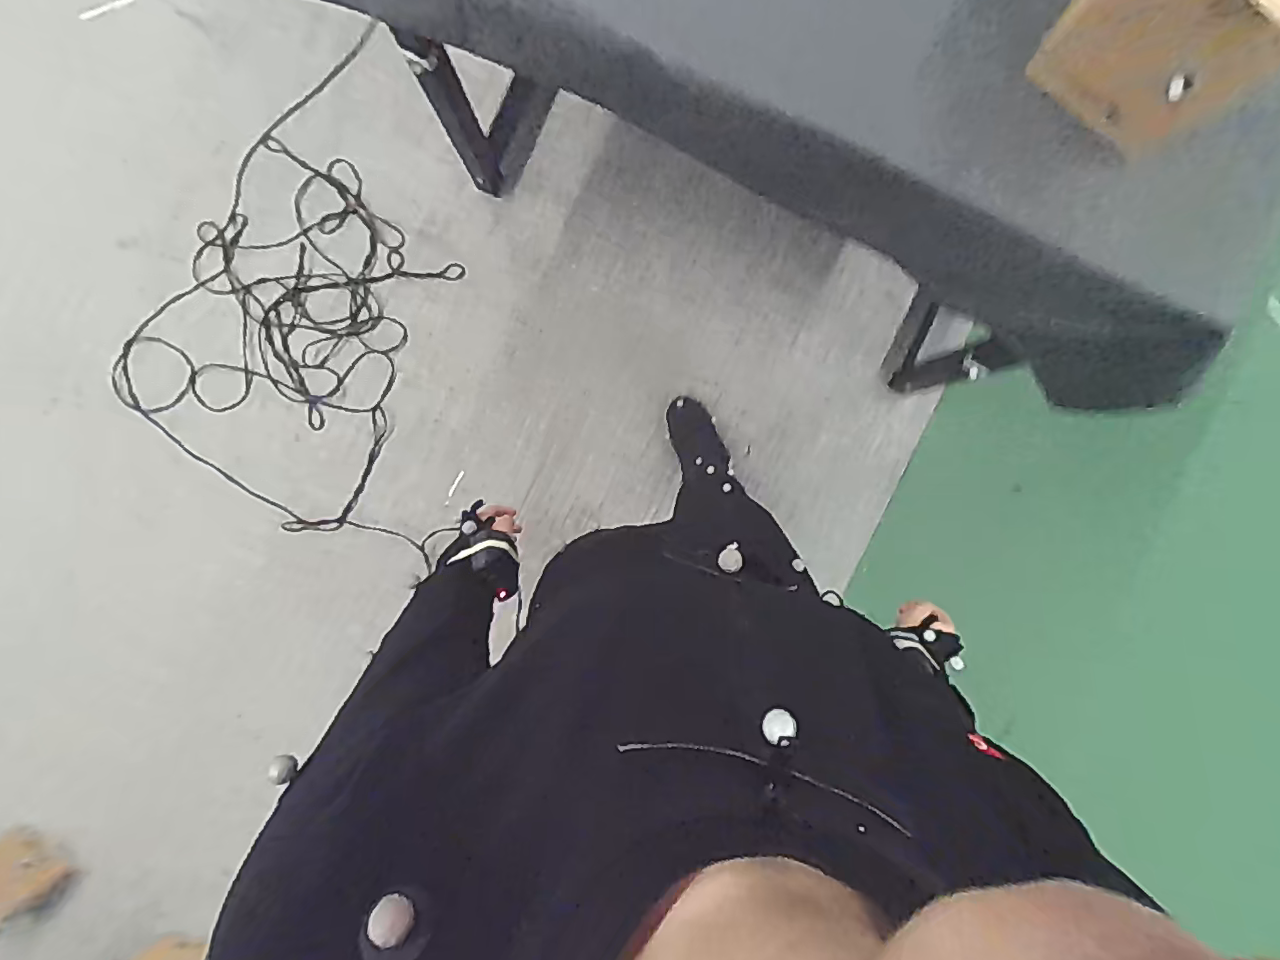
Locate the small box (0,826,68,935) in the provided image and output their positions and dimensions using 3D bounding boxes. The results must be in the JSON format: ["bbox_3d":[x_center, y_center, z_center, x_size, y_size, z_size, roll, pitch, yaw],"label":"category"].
[{"bbox_3d":[-1.518,0.966,1.254,0.168,0.176,0.179,44,90,-2],"label":"small box"}]

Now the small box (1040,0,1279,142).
[{"bbox_3d":[0.543,-0.482,0.523,0.168,0.176,0.179,36,90,-3],"label":"small box"}]
